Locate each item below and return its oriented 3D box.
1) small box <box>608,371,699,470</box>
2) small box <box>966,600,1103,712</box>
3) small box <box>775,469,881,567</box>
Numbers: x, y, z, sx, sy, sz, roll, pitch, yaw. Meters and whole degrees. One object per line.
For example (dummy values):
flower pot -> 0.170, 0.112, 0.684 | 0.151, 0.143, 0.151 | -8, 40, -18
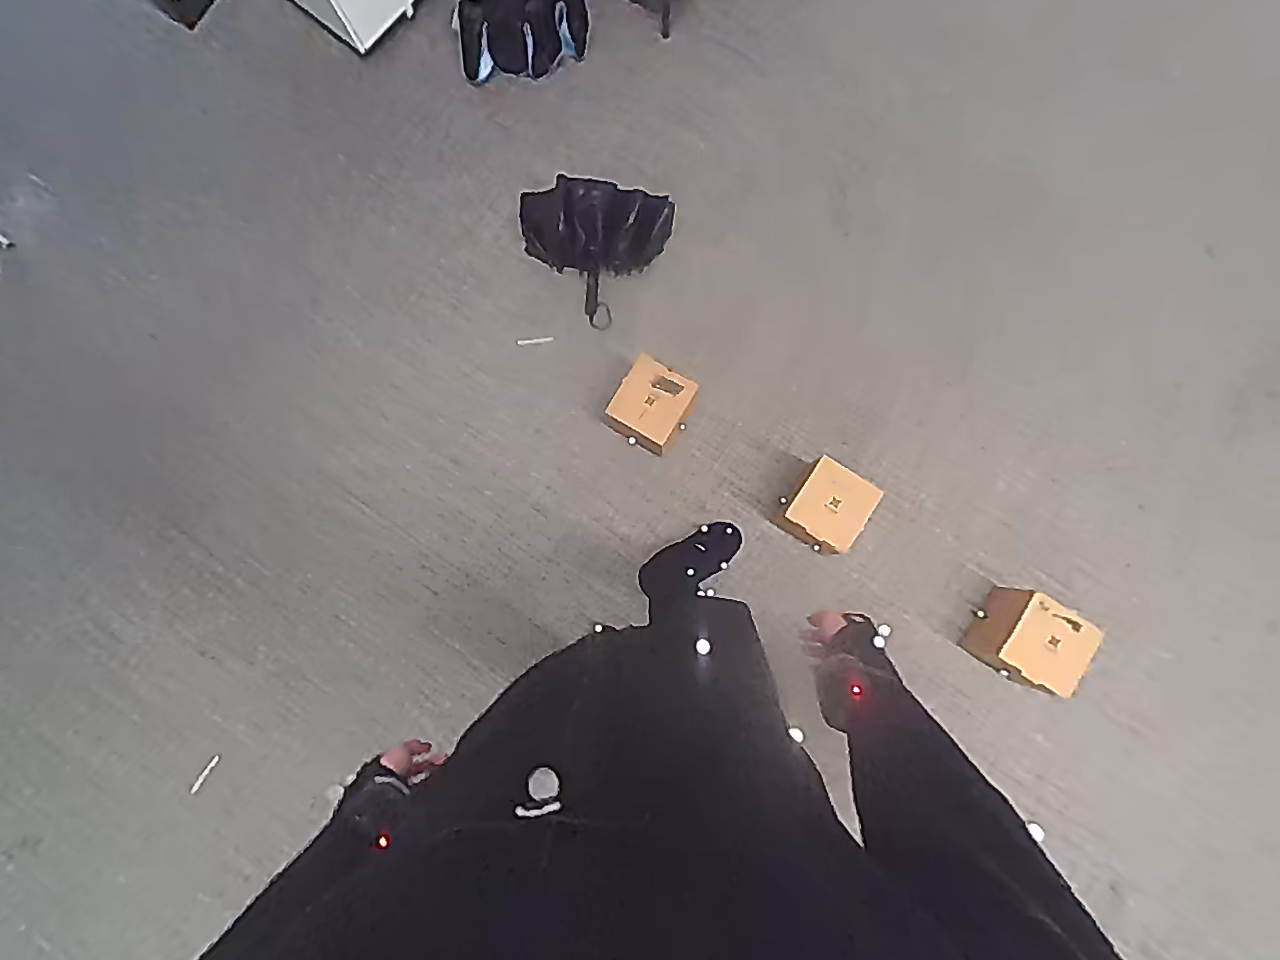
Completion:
small box -> 0.036, -0.146, 1.391 | 0.168, 0.176, 0.179 | 31, 85, 8
small box -> 0.903, 0.399, 1.261 | 0.168, 0.176, 0.179 | 34, 85, 8
small box -> 0.451, 0.100, 1.335 | 0.168, 0.176, 0.179 | 33, 82, 6
